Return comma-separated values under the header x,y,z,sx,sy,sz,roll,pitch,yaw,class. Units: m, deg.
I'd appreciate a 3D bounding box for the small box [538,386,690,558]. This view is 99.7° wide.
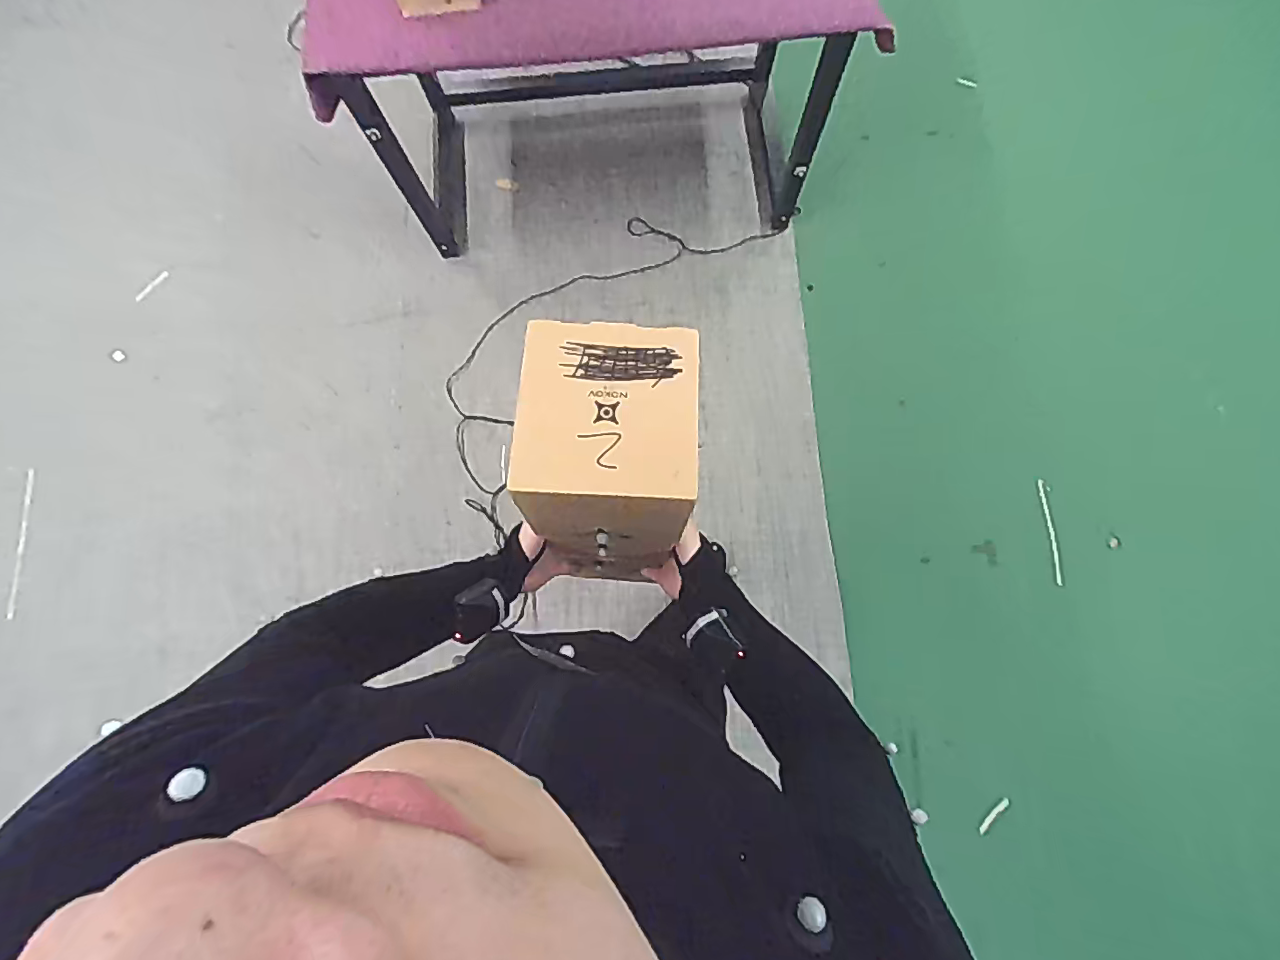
x,y,z,sx,sy,sz,roll,pitch,yaw,class
-0.028,-0.001,0.717,0.168,0.176,0.179,6,70,1,small box

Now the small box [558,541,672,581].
x,y,z,sx,sy,sz,roll,pitch,yaw,class
-0.031,0.058,0.873,0.168,0.176,0.179,4,71,1,small box

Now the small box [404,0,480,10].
x,y,z,sx,sy,sz,roll,pitch,yaw,class
-0.425,-1.090,1.082,0.168,0.176,0.179,-7,78,1,small box
